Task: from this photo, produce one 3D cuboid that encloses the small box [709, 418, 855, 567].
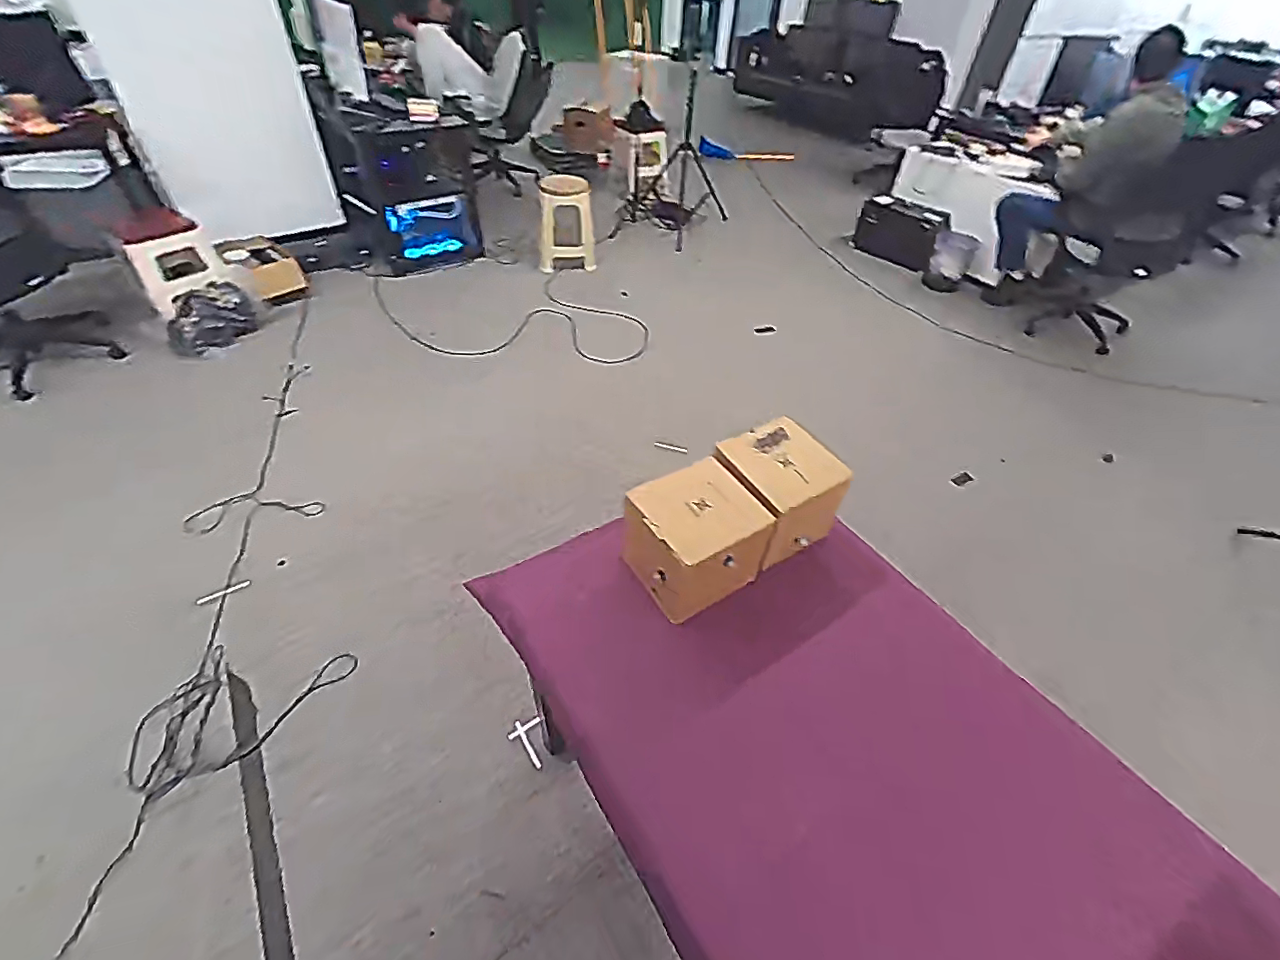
[{"bbox_3d":[0.242,0.022,0.973,0.168,0.176,0.179,-23,53,-22],"label":"small box"}]
